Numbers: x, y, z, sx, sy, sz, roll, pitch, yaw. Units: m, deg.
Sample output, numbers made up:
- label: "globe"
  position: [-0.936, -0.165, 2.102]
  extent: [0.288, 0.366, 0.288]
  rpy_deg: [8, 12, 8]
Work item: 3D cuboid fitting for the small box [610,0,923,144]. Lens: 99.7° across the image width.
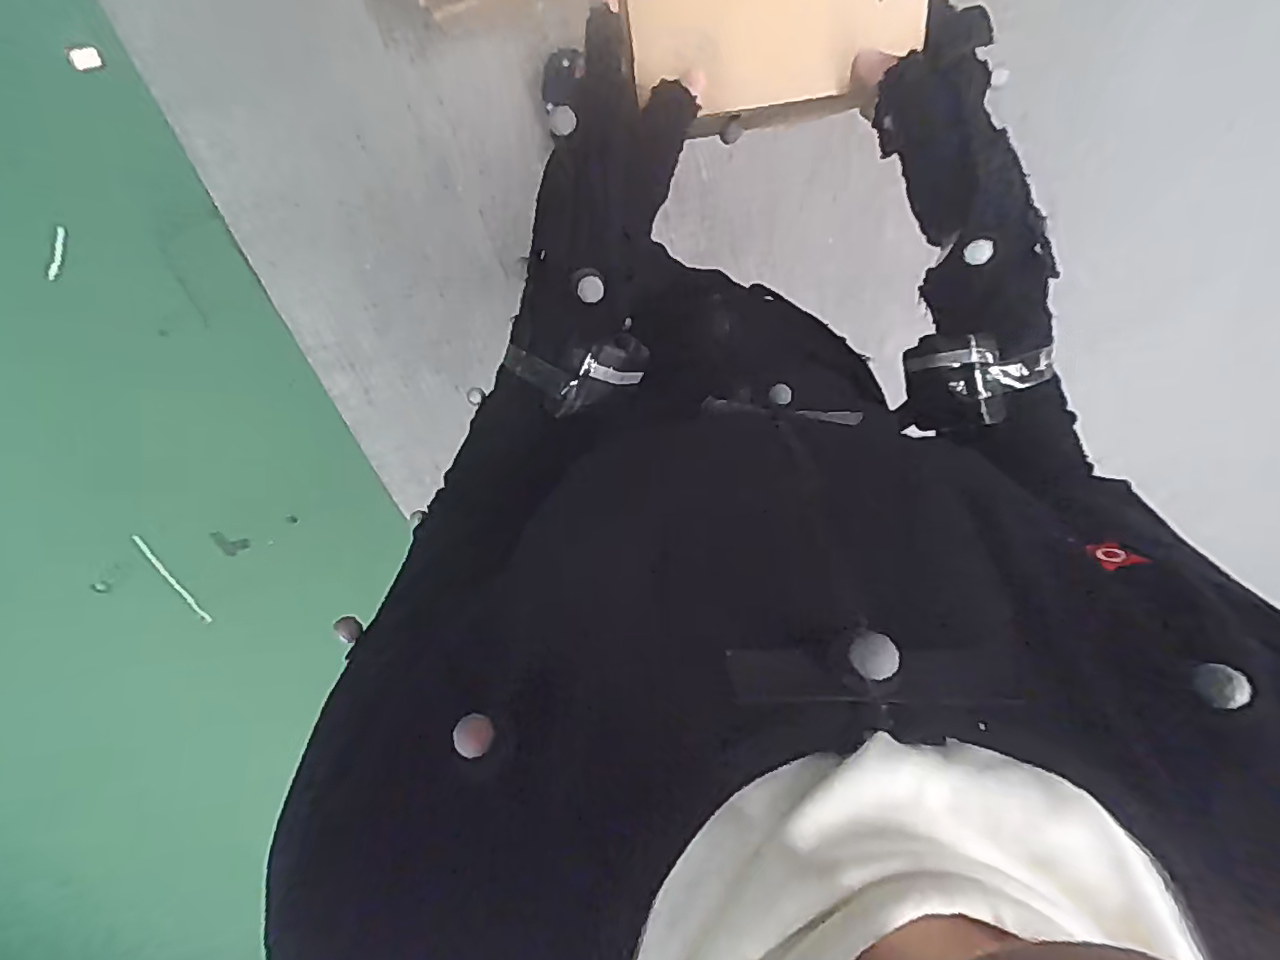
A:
- label: "small box"
  position: [0.067, -0.347, 0.368]
  extent: [0.179, 0.176, 0.168]
  rpy_deg: [-11, 115, 2]
